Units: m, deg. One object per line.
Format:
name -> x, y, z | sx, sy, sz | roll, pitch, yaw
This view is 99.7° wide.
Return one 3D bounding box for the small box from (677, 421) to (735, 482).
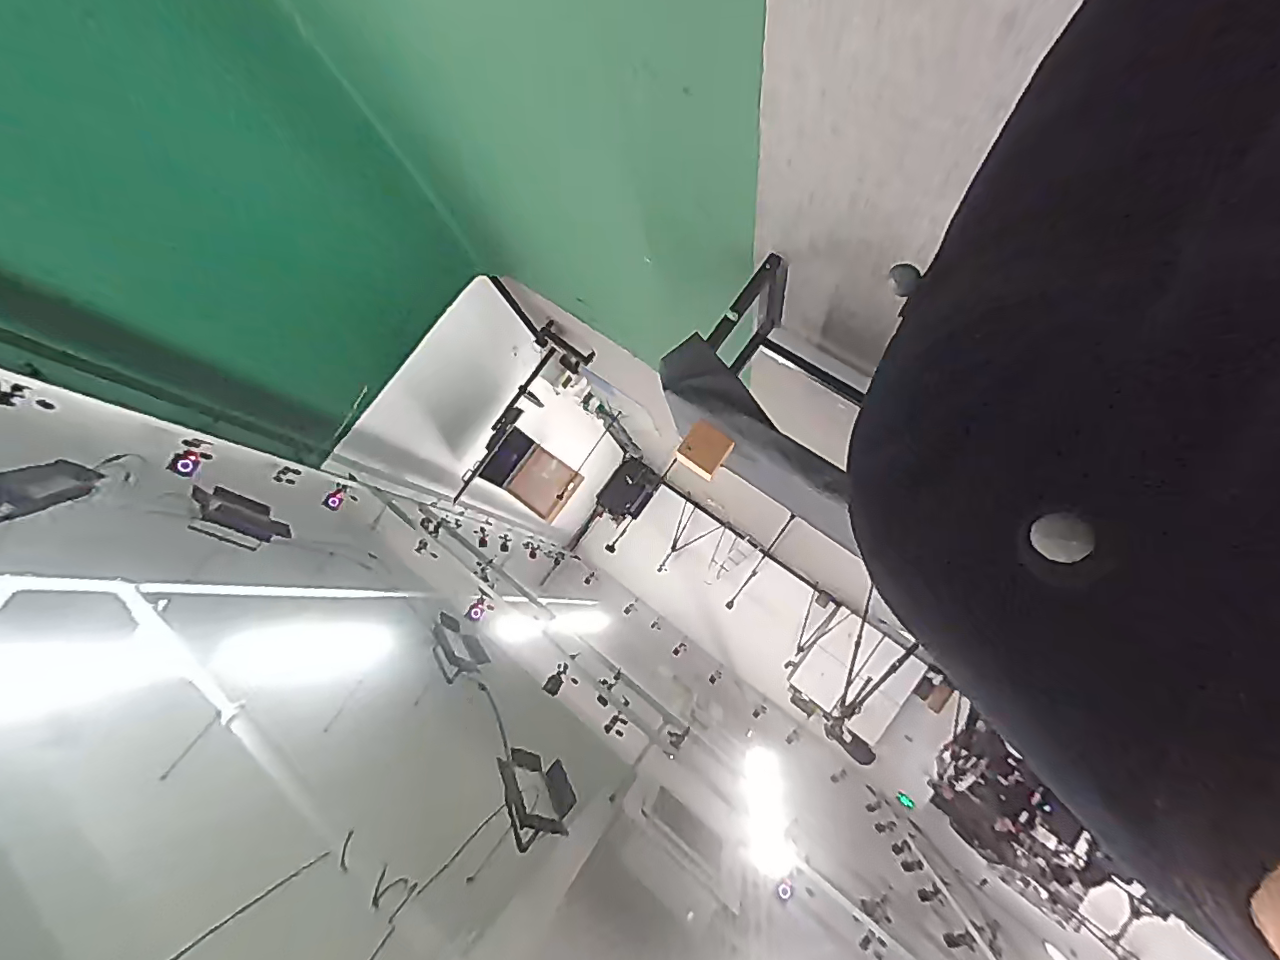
small box -> 0.272, -0.116, 2.212 | 0.179, 0.176, 0.168 | 36, 176, 9
